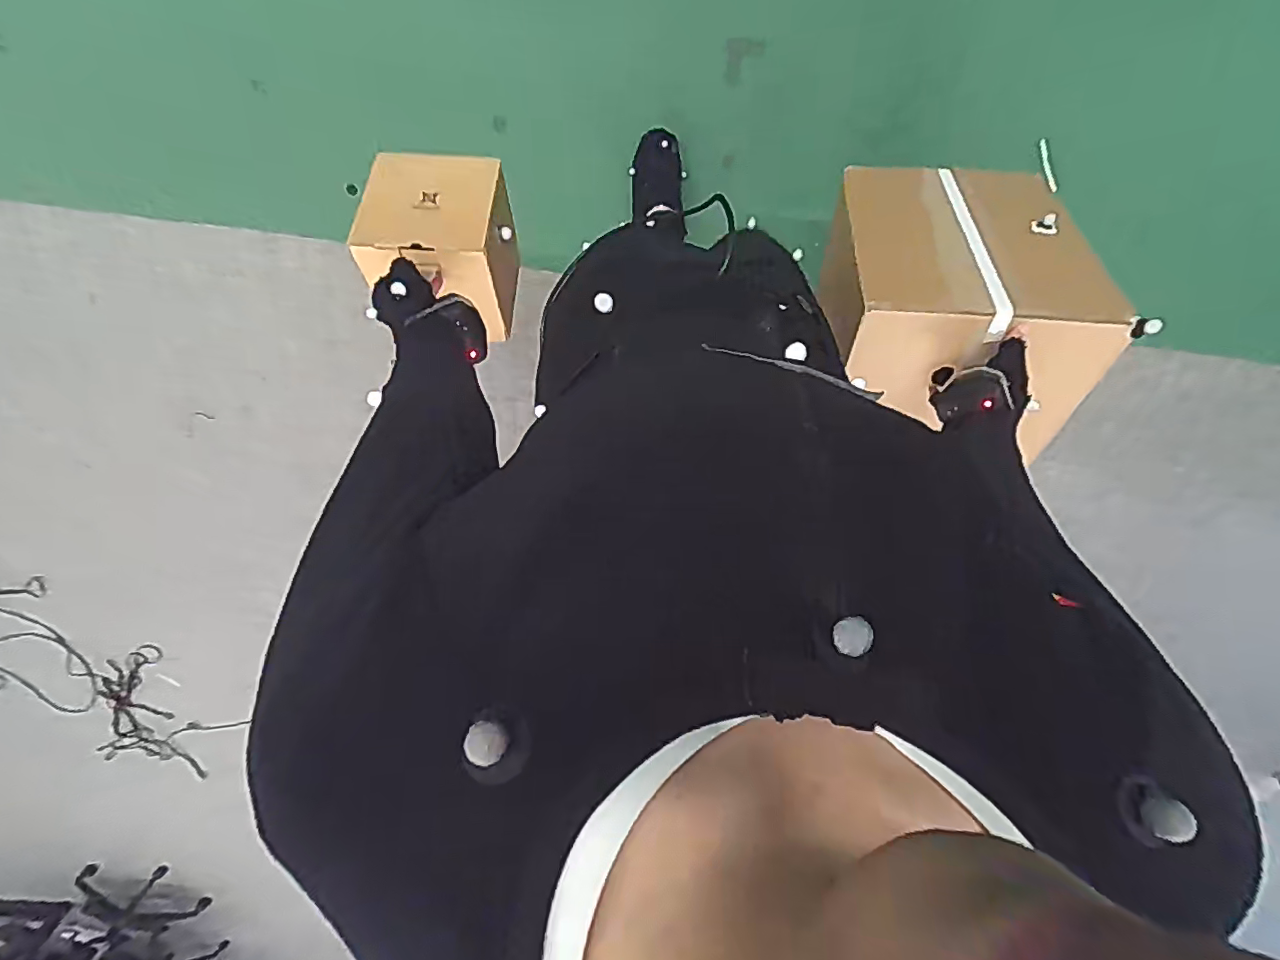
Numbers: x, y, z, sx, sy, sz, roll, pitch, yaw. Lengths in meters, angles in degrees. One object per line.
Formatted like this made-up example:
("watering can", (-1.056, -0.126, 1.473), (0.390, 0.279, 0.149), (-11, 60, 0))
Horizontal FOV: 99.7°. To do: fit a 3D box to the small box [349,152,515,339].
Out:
("small box", (-0.277, -0.325, 0.766), (0.168, 0.179, 0.176), (1, 156, -2))
